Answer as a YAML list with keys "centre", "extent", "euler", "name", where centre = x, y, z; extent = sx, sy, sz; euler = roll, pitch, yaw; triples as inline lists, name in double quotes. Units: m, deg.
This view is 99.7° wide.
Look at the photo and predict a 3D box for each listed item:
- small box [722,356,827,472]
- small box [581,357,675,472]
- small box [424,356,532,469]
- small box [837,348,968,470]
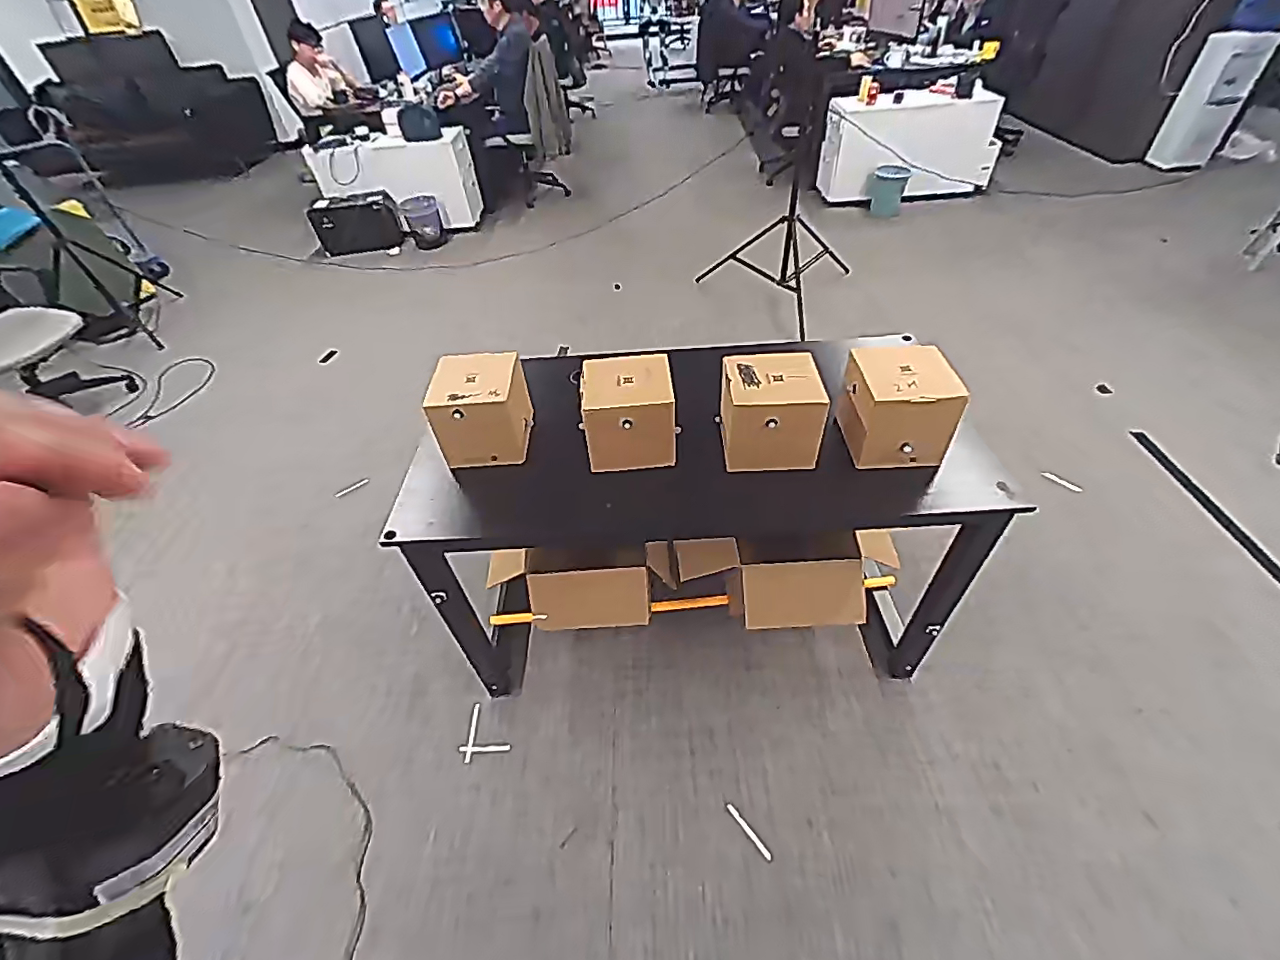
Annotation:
- centre: [0.256, -0.129, 1.077]
  extent: [0.179, 0.176, 0.168]
  euler: [-1, 45, 3]
  name: "small box"
- centre: [-0.022, -0.130, 1.108]
  extent: [0.179, 0.176, 0.168]
  euler: [-5, 46, -1]
  name: "small box"
- centre: [-0.331, -0.142, 1.145]
  extent: [0.168, 0.176, 0.179]
  euler: [-4, 45, 1]
  name: "small box"
- centre: [0.501, -0.139, 1.064]
  extent: [0.168, 0.176, 0.179]
  euler: [-3, 44, 4]
  name: "small box"
